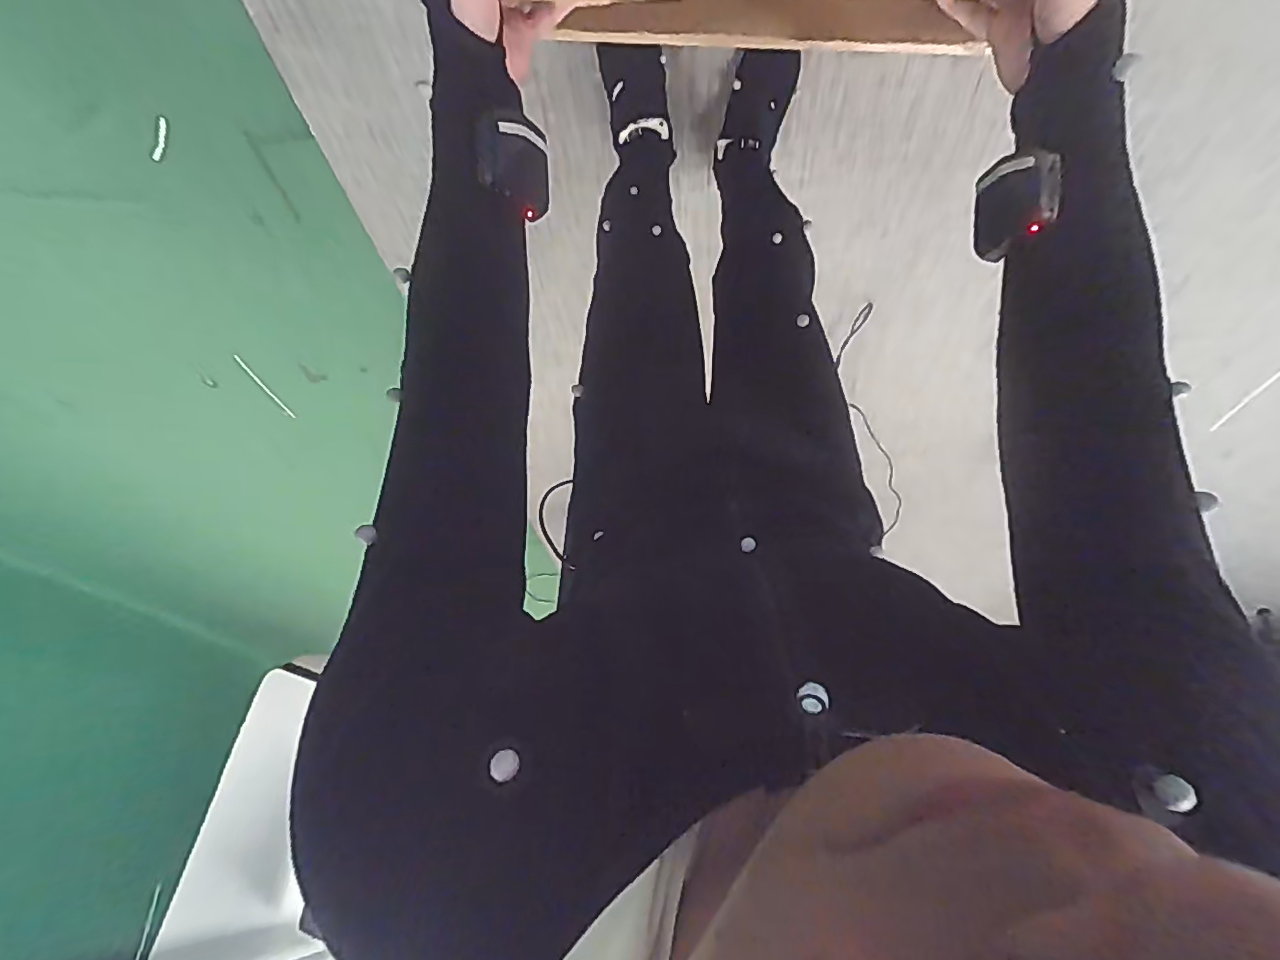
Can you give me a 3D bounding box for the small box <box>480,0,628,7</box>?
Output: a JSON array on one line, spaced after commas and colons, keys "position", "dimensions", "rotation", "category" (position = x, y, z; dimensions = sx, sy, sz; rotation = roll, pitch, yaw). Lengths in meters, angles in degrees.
[{"position": [-0.047, -0.486, 0.391], "dimensions": [0.168, 0.176, 0.179], "rotation": [1, 148, 4], "category": "small box"}]
